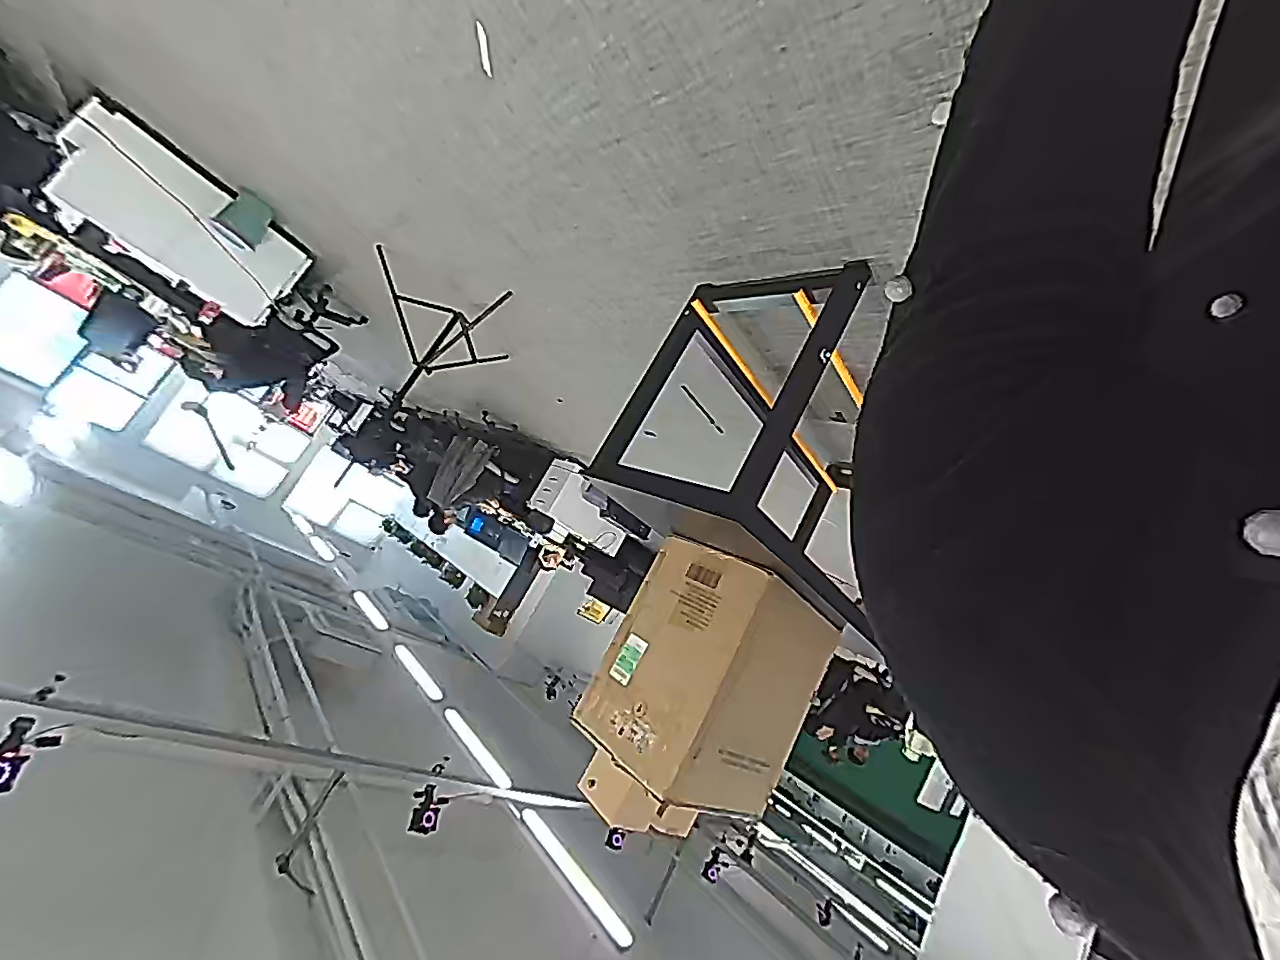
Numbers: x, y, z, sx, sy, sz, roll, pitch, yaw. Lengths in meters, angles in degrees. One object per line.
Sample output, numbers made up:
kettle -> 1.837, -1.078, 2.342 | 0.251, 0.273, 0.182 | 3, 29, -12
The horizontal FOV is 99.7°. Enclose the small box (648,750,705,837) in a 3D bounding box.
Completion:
small box -> 0.088, 1.006, 1.742 | 0.168, 0.176, 0.179 | 40, 165, -35

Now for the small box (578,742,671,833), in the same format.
small box -> -0.042, 0.895, 1.592 | 0.168, 0.176, 0.179 | 38, 167, -37
